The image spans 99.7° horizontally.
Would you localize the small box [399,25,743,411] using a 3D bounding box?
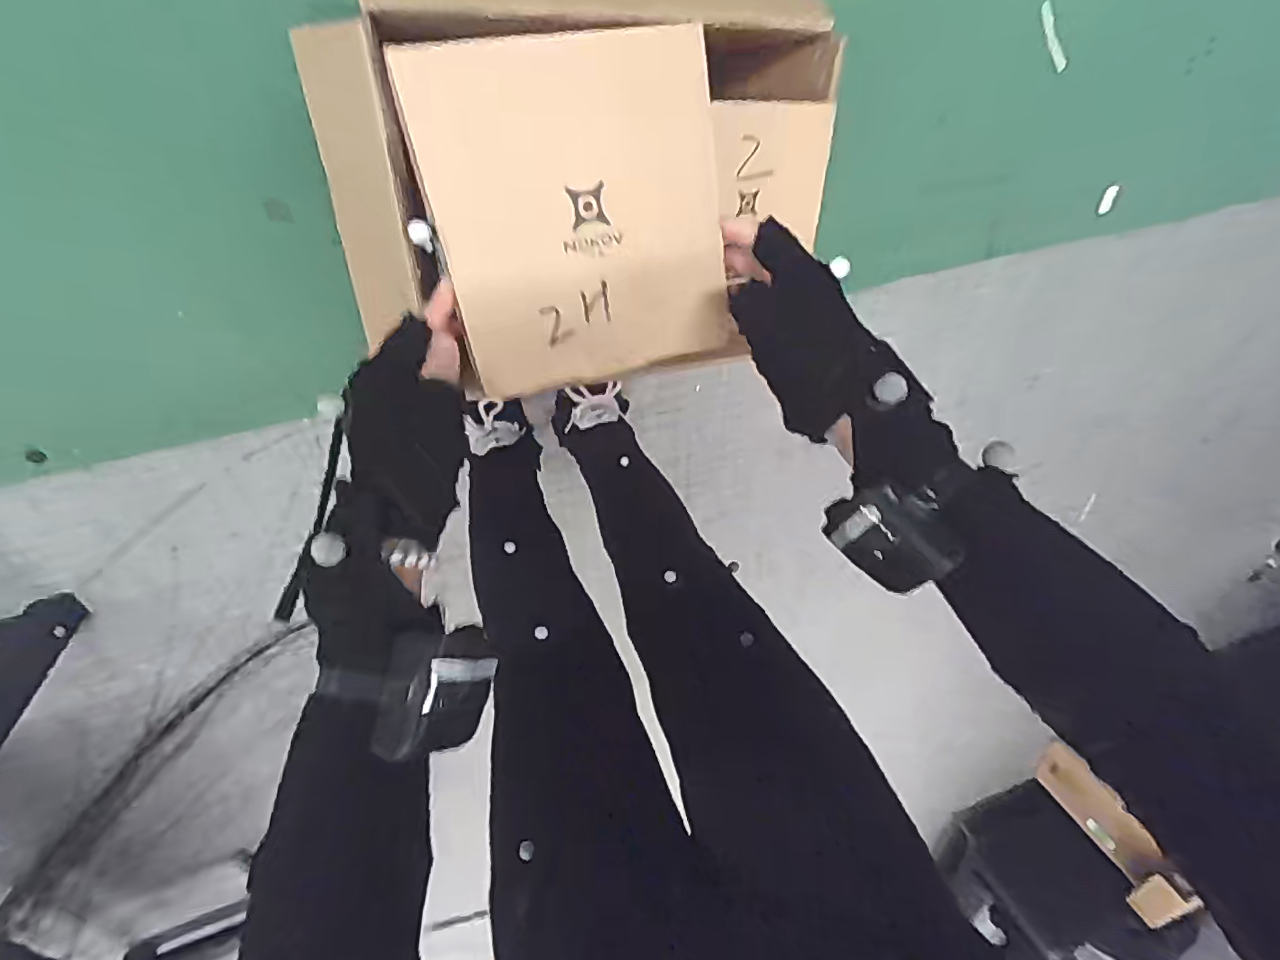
[{"bbox_3d":[-0.049,-0.165,0.368,0.168,0.176,0.179,-17,115,-13],"label":"small box"}]
